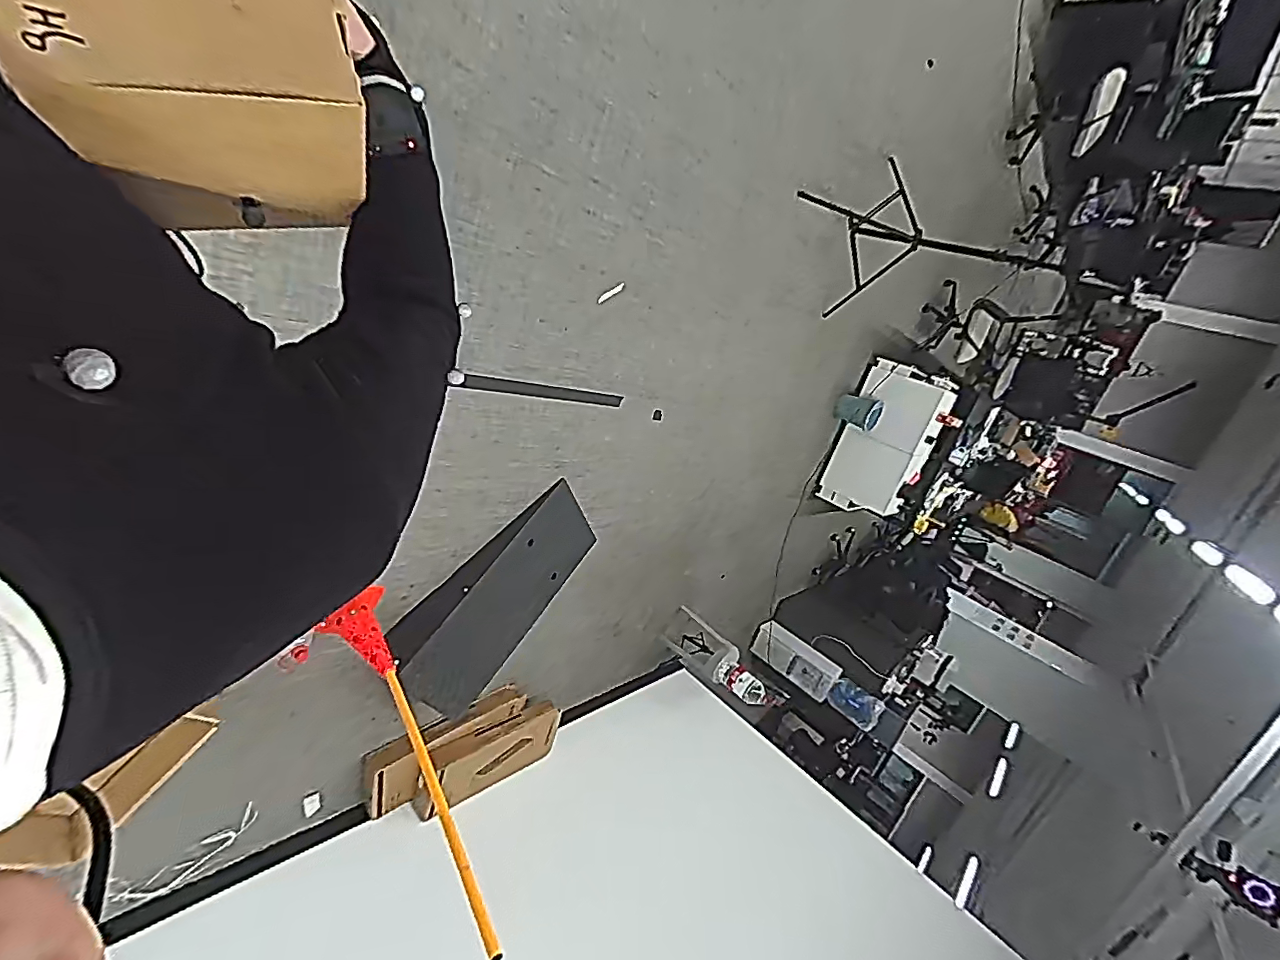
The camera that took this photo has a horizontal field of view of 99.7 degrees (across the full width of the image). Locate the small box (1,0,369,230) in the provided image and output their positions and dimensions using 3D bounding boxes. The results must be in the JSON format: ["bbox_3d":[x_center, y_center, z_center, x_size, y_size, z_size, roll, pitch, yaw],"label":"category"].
[{"bbox_3d":[-0.319,-0.305,0.403,0.179,0.176,0.168,-16,92,-27],"label":"small box"}]
